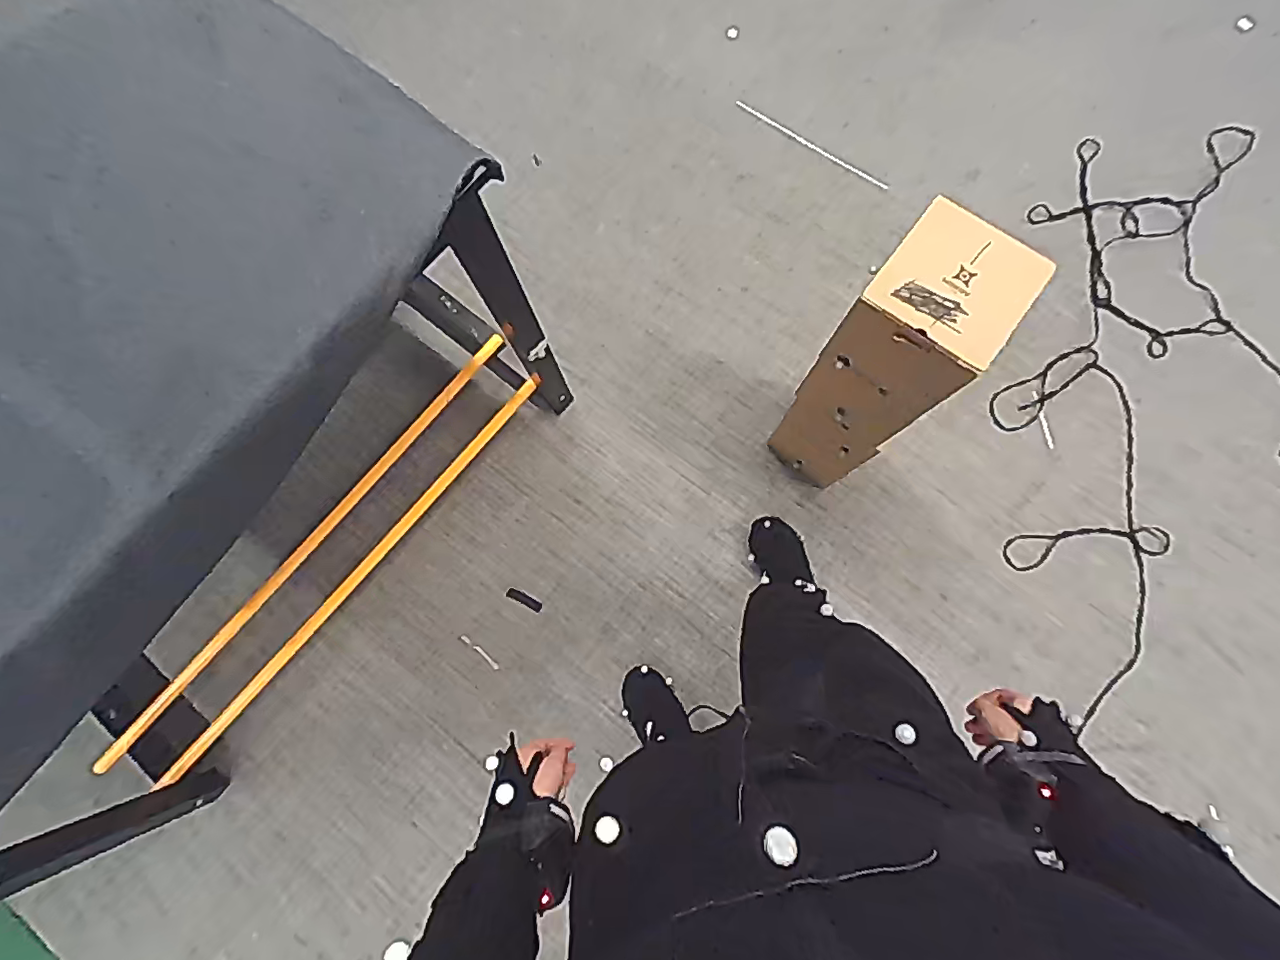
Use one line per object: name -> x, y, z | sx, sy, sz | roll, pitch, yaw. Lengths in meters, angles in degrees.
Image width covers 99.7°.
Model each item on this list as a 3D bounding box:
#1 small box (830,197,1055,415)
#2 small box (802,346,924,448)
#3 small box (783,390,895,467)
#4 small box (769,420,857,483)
small box -> 0.374, -0.214, 0.711 | 0.168, 0.176, 0.179 | 38, 80, 9
small box -> 0.388, -0.180, 0.871 | 0.168, 0.176, 0.179 | 40, 82, 10
small box -> 0.401, -0.141, 1.031 | 0.179, 0.176, 0.168 | 38, 81, 10
small box -> 0.412, -0.110, 1.189 | 0.179, 0.176, 0.168 | 41, 81, 8
